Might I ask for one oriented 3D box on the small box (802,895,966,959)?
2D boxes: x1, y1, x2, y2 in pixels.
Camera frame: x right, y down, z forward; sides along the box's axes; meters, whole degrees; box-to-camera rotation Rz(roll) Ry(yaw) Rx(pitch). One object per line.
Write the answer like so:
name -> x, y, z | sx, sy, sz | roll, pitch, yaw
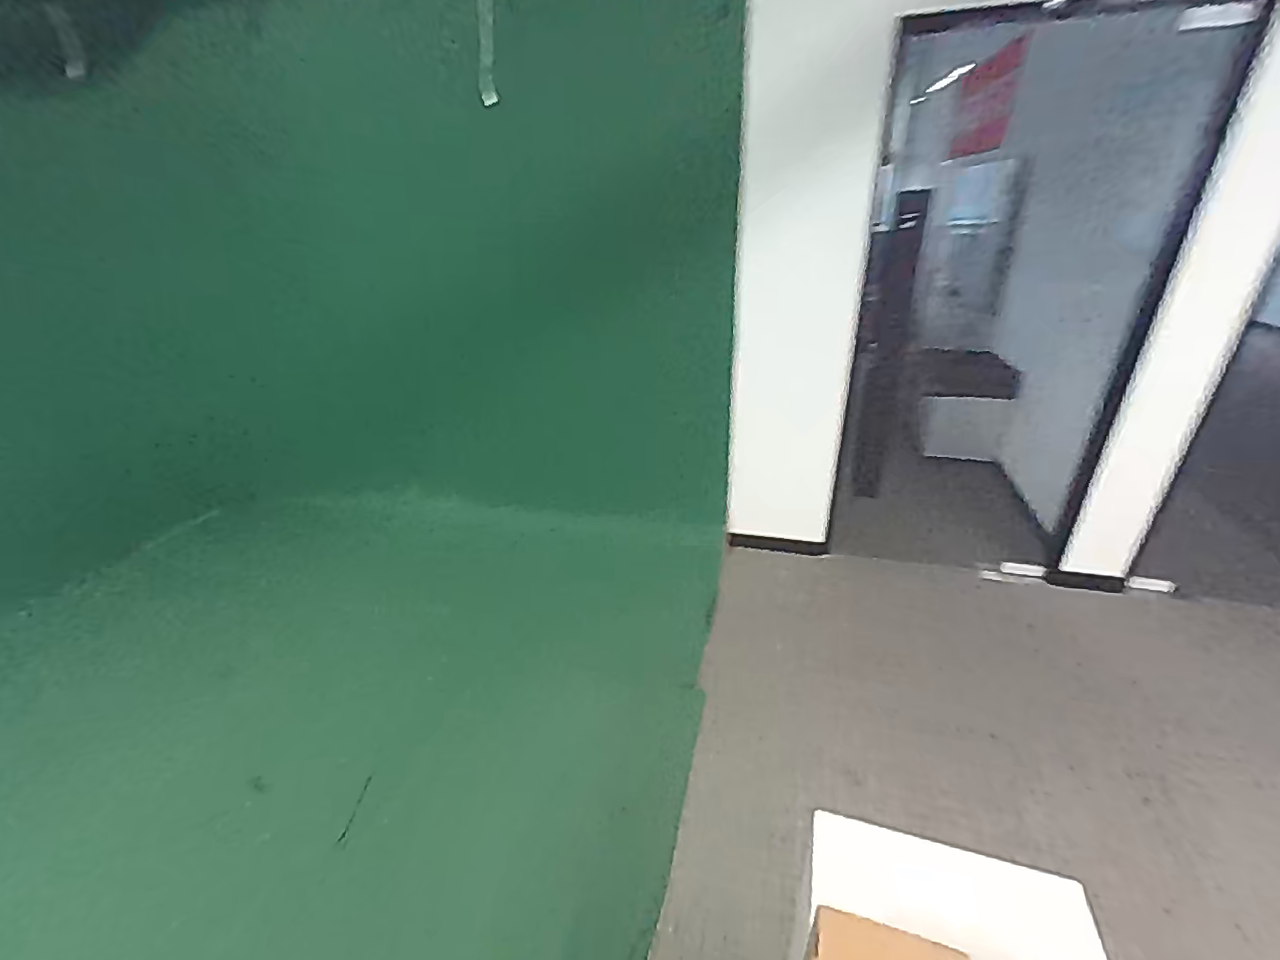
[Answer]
small box -> 0.283, 0.654, 0.645 | 0.179, 0.176, 0.168 | 8, 30, 17
